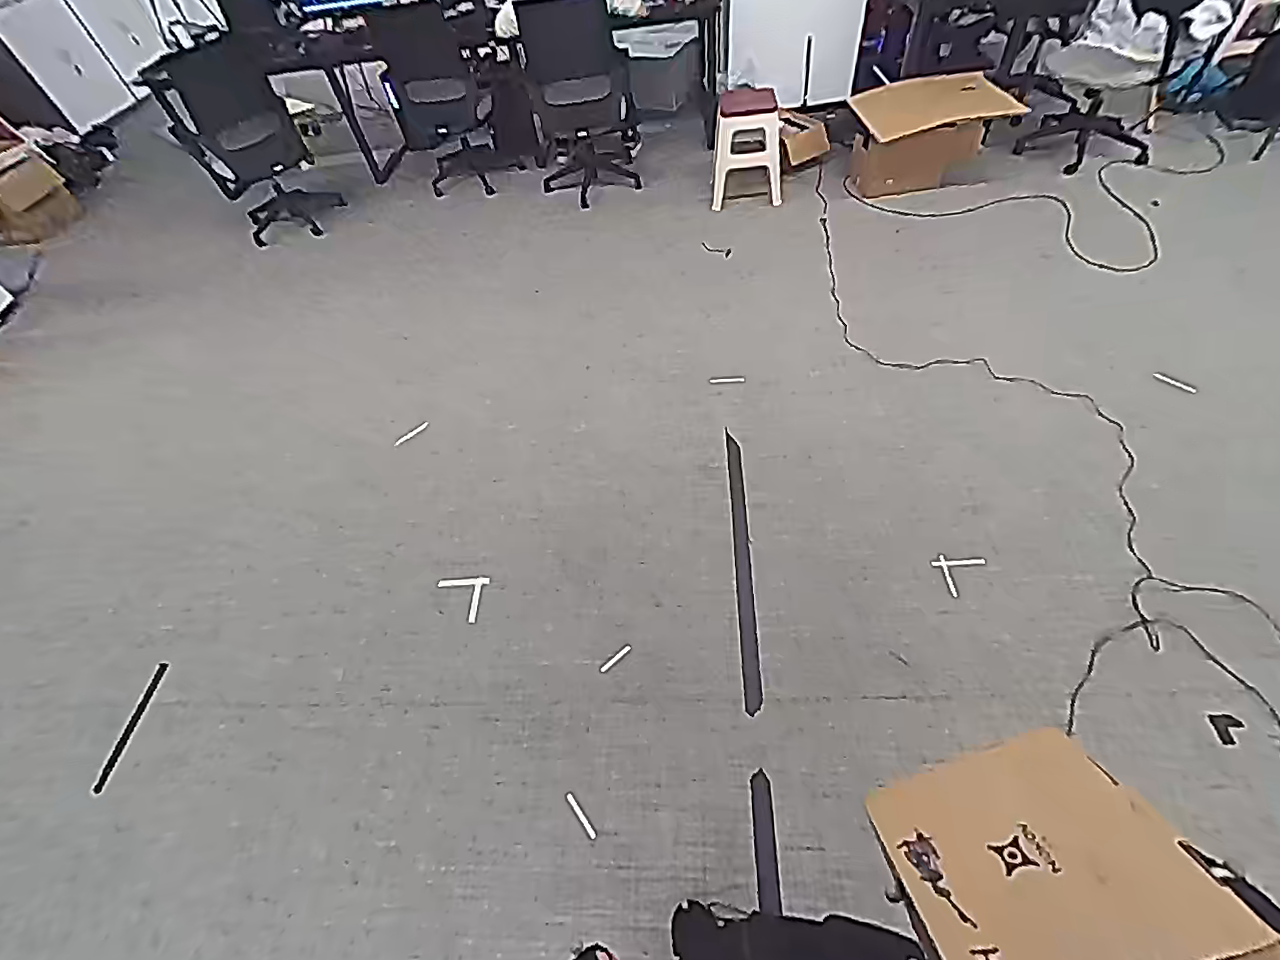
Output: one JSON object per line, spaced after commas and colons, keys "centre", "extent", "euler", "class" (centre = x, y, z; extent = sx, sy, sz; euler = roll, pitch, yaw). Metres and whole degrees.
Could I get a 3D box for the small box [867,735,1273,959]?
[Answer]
{"centre": [0.310, 0.344, 0.414], "extent": [0.179, 0.176, 0.168], "euler": [-23, 16, 5], "class": "small box"}
